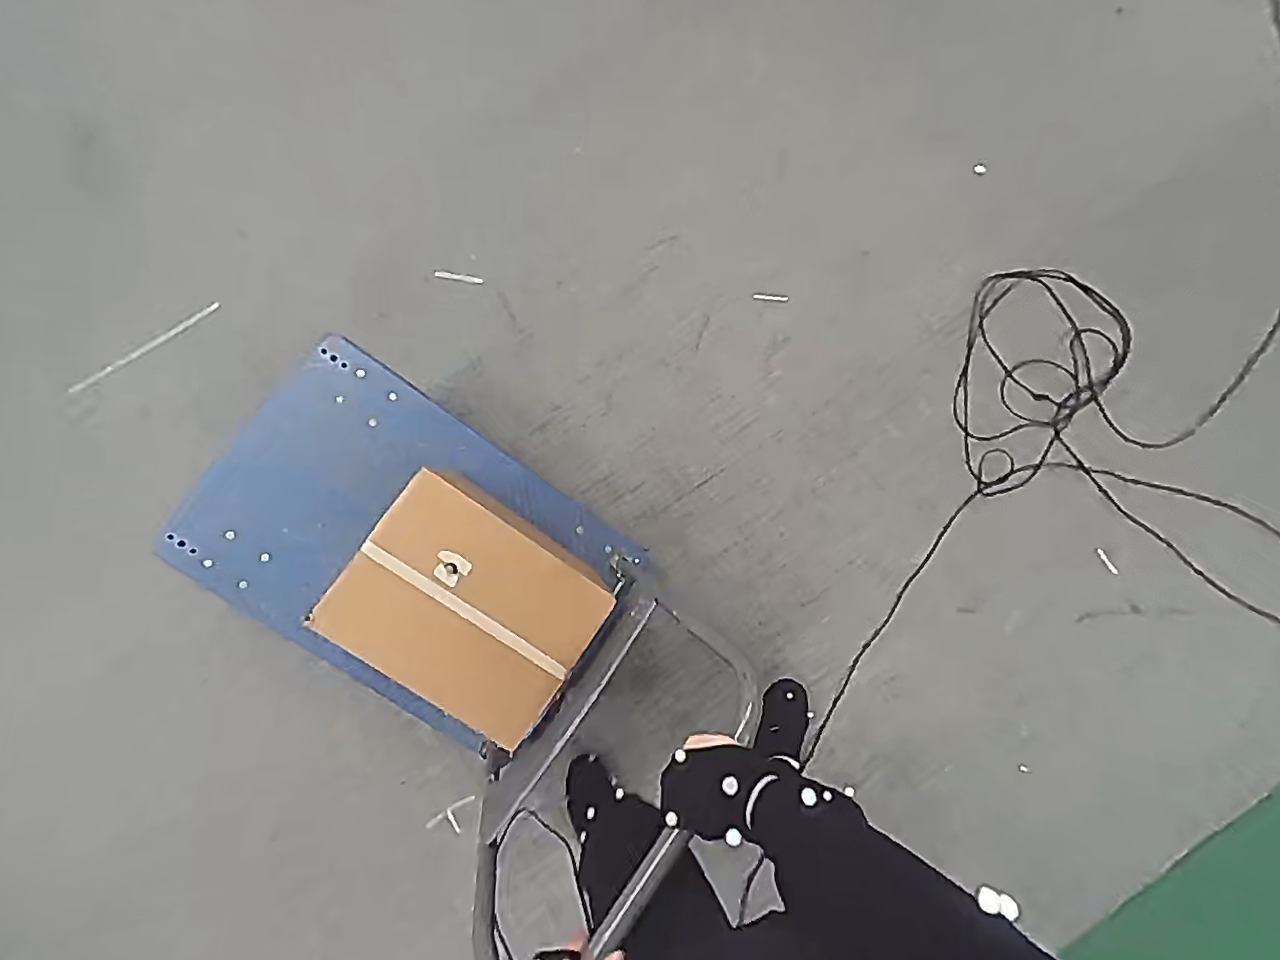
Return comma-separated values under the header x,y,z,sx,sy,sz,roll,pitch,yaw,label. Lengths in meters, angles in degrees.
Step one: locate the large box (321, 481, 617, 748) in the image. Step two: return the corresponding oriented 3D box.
x,y,z,sx,sy,sz,roll,pitch,yaw,label
-0.305,0.237,1.075,0.408,0.320,0.320,35,83,-7,large box
